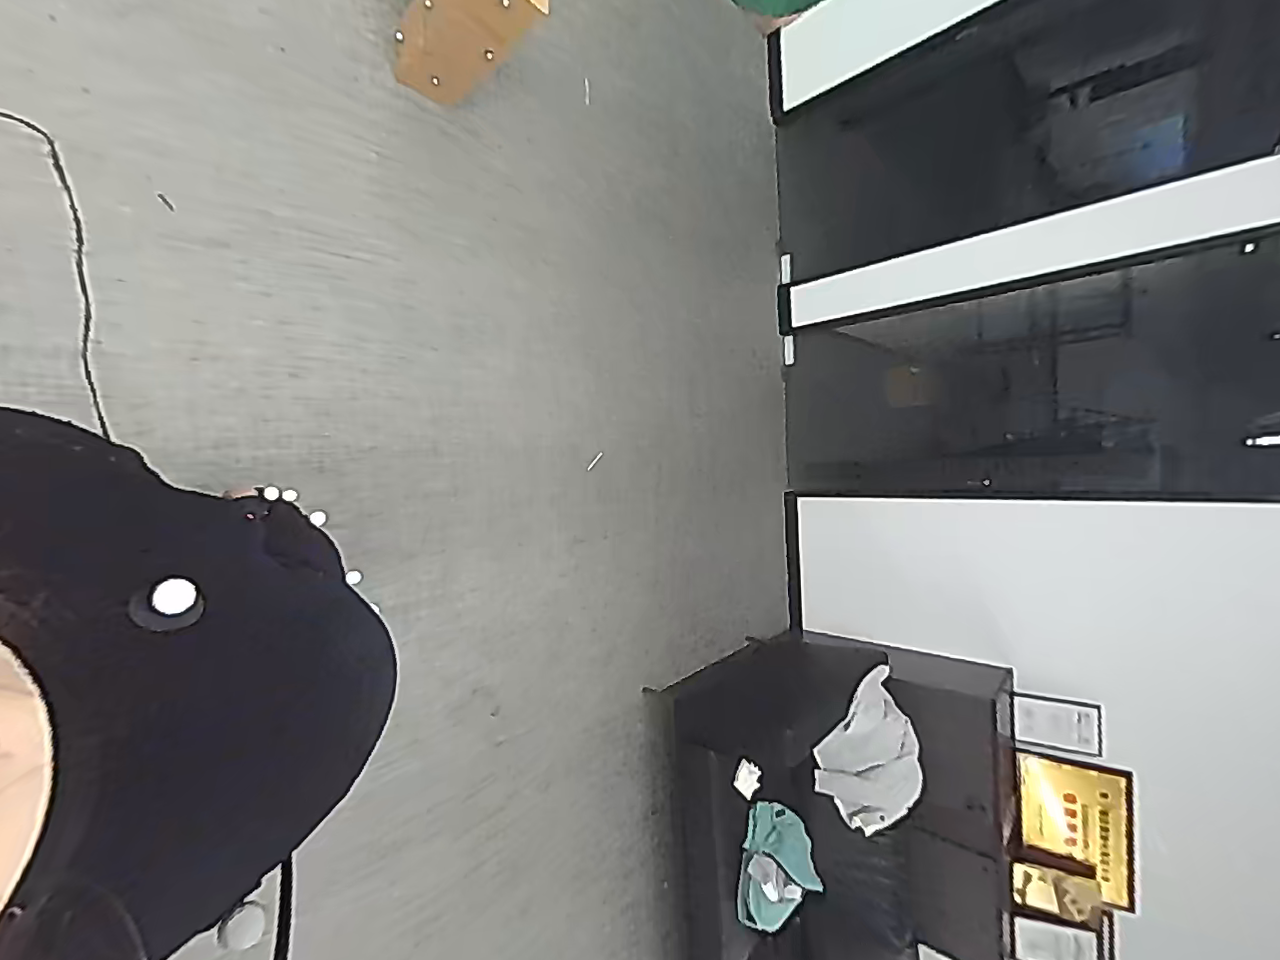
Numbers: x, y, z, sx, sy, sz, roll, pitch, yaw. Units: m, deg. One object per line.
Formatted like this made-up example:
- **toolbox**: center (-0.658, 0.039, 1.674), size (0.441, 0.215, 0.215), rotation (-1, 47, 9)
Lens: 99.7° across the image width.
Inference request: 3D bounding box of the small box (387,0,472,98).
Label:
- **small box**: center (-0.592, -1.231, 1.532), size (0.179, 0.176, 0.168), rotation (4, 87, -46)

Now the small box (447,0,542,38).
- **small box**: center (-0.352, -1.230, 1.309), size (0.179, 0.176, 0.168), rotation (5, 87, -47)
